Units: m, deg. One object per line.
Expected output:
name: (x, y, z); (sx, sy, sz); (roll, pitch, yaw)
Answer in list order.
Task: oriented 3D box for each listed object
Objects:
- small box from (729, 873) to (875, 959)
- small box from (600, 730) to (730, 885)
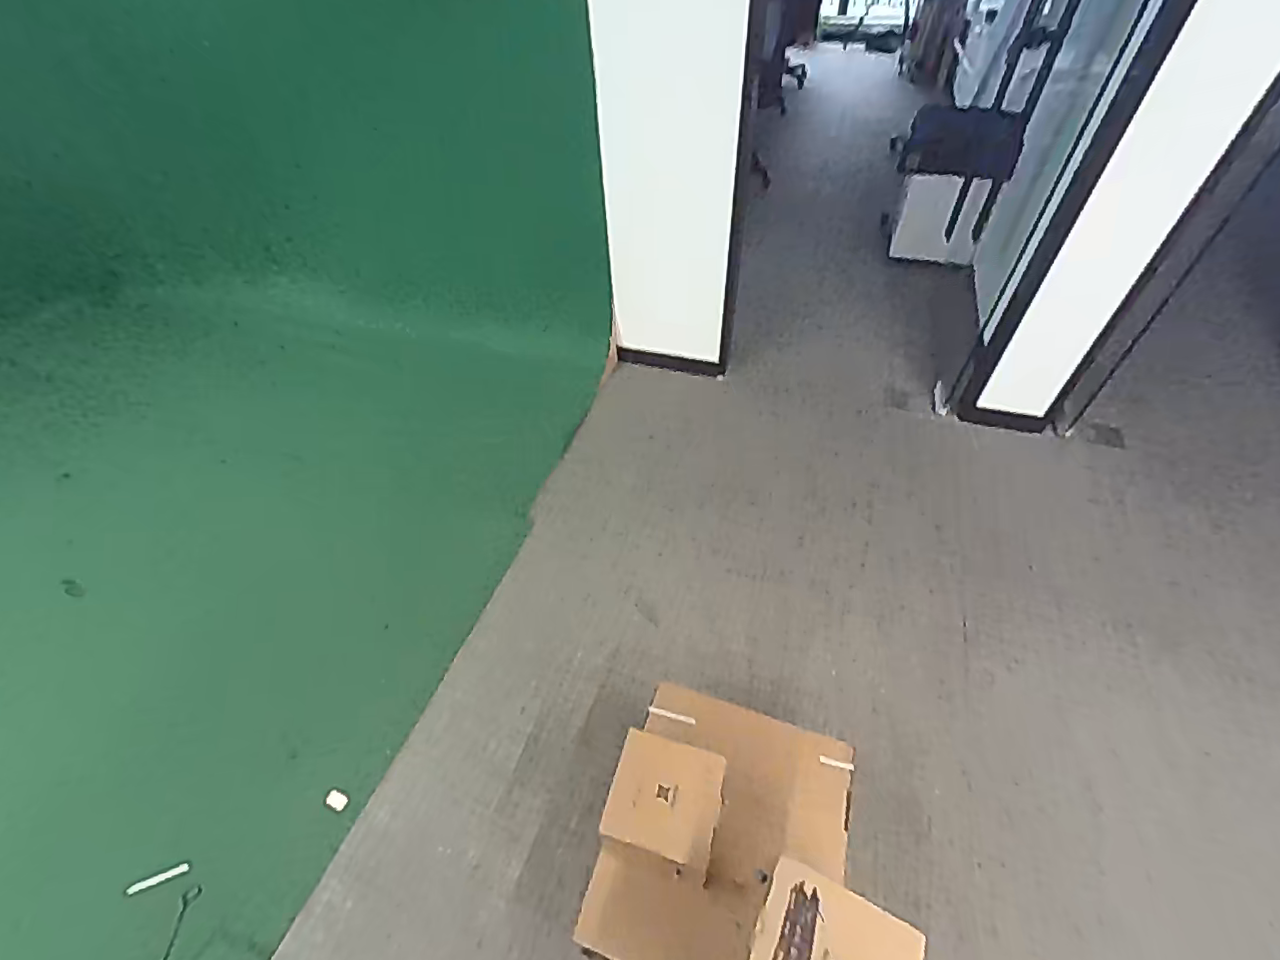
small box: (0.218, 0.710, 0.774); (0.168, 0.176, 0.179); (17, 49, 17)
small box: (0.047, 0.563, 0.924); (0.179, 0.176, 0.168); (11, 47, 14)
